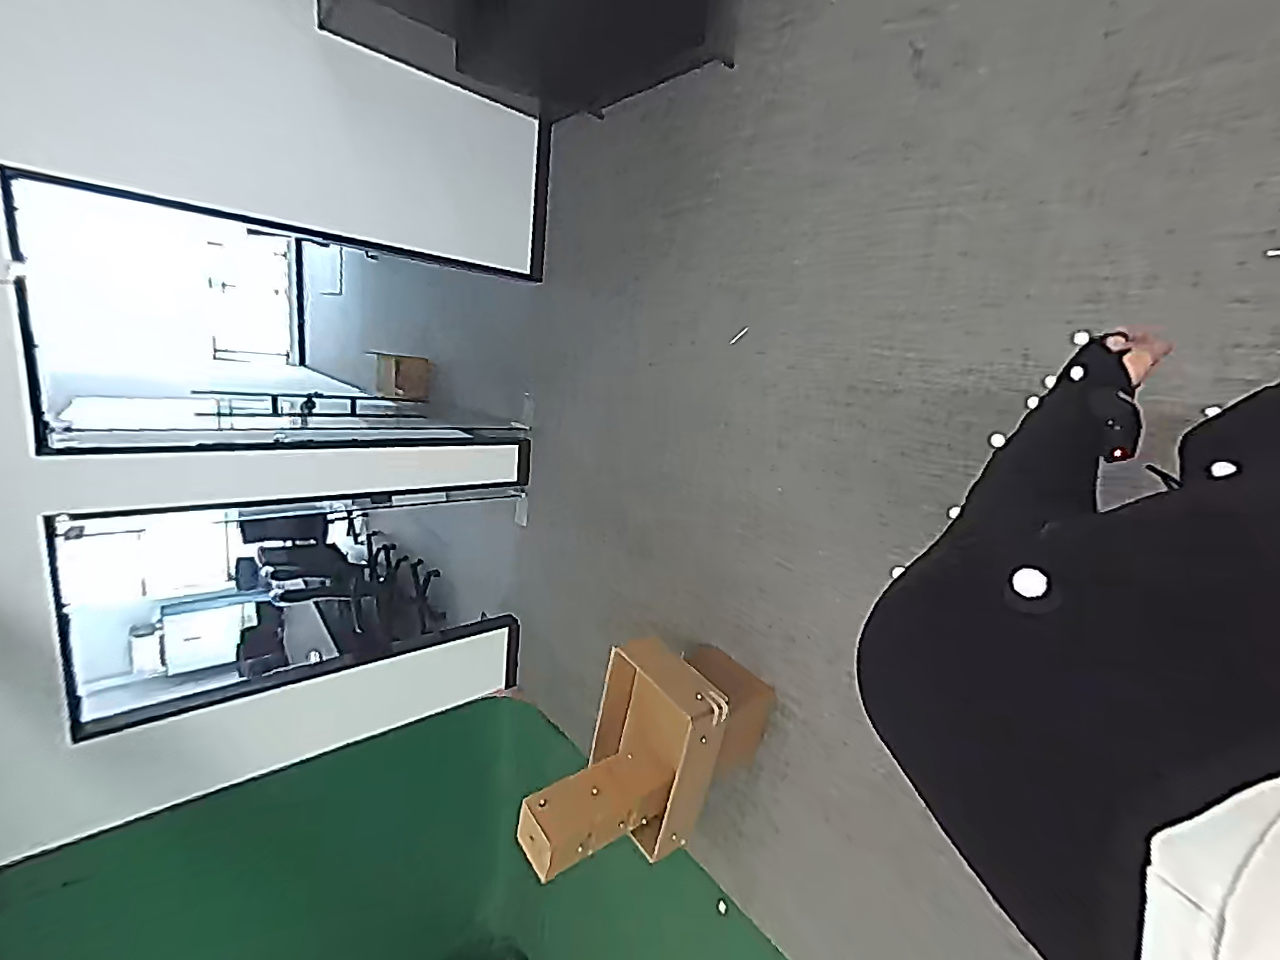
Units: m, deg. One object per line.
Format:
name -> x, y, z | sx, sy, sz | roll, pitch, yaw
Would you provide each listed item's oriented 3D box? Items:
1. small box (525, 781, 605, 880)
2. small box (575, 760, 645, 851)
small box -> -0.237, 1.087, 1.701 | 0.179, 0.176, 0.168 | 31, 118, 41
small box -> -0.111, 1.074, 1.808 | 0.179, 0.176, 0.168 | 30, 117, 42
